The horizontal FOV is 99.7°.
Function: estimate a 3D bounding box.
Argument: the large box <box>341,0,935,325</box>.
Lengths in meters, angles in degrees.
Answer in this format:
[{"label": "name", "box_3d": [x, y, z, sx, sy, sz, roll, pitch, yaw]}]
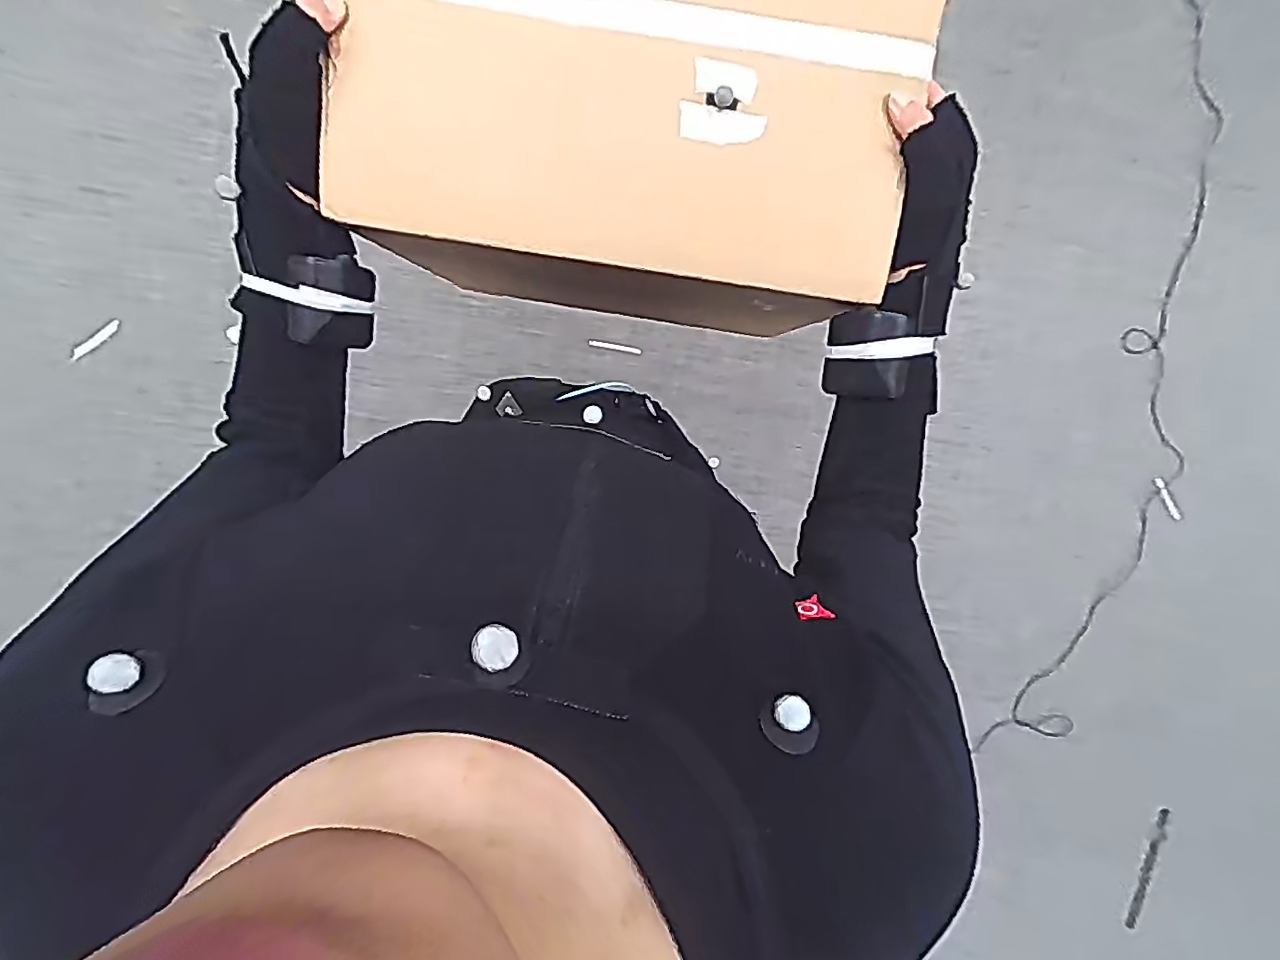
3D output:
[{"label": "large box", "box_3d": [-0.004, -0.344, 0.516, 0.408, 0.320, 0.320, 8, 102, -3]}]
